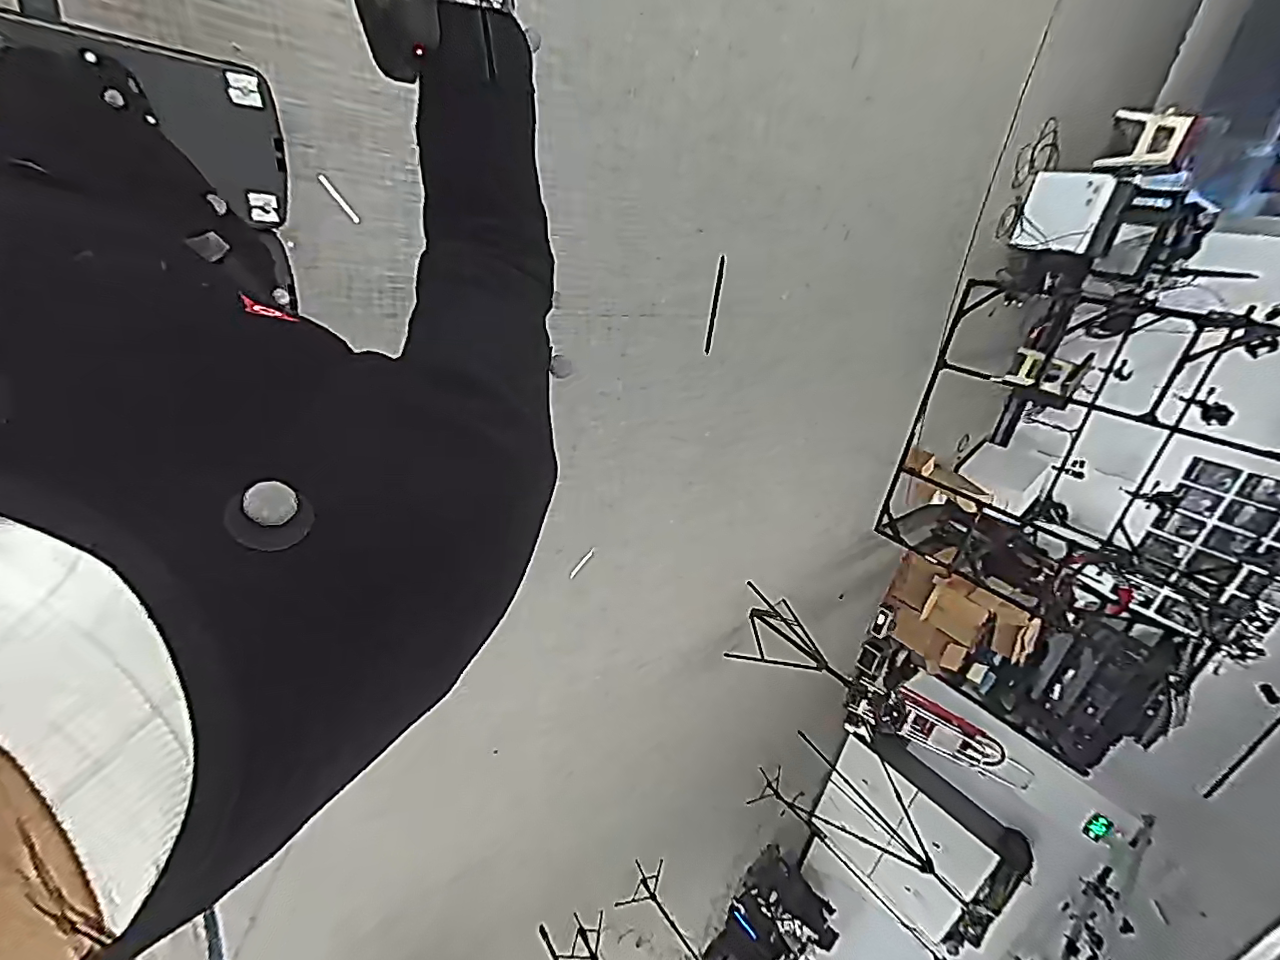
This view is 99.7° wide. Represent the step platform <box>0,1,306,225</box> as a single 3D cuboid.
[{"bbox_3d":[-0.986,-0.634,0.944,0.684,0.204,0.286,-14,124,-38],"label":"step platform"}]
